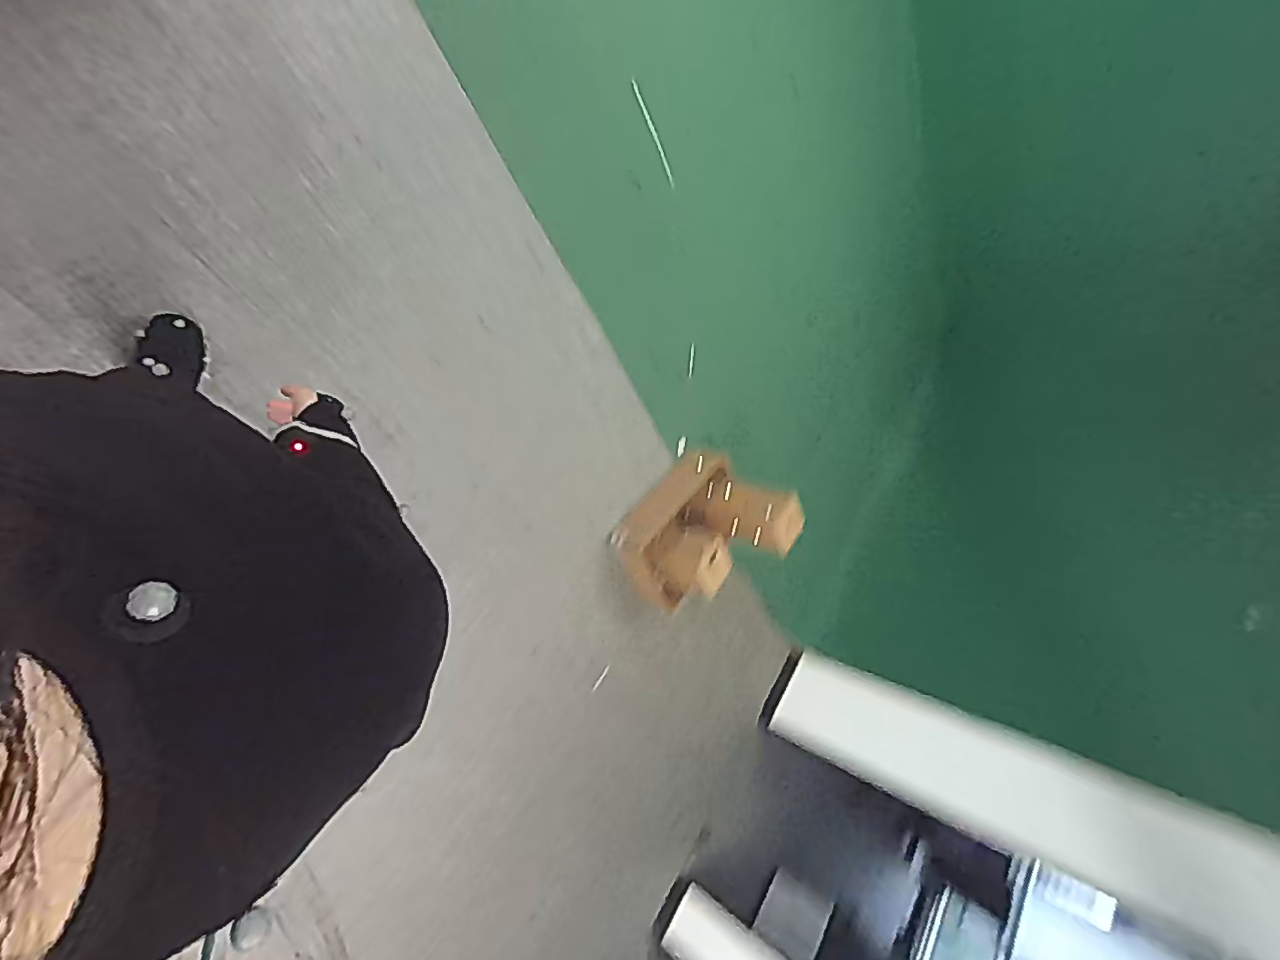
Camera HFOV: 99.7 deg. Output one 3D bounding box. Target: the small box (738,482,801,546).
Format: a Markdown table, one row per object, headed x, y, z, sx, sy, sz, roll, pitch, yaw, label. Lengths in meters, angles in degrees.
| x | y | z | sx | sy | sz | roll | pitch | yaw | label |
| --- | --- | --- | --- | --- | --- | --- | --- | --- | --- |
| 0.506 | 0.131 | 2.137 | 0.179 | 0.176 | 0.168 | -47 | 128 | -27 | small box |

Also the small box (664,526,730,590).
| x | y | z | sx | sy | sz | roll | pitch | yaw | label |
| --- | --- | --- | --- | --- | --- | --- | --- | --- | --- |
| 0.219 | 0.296 | 2.108 | 0.168 | 0.176 | 0.179 | -49 | 130 | -29 | small box |

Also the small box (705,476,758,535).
| x | y | z | sx | sy | sz | roll | pitch | yaw | label |
| --- | --- | --- | --- | --- | --- | --- | --- | --- | --- |
| 0.400 | 0.101 | 2.261 | 0.168 | 0.176 | 0.179 | -47 | 127 | -28 | small box |
